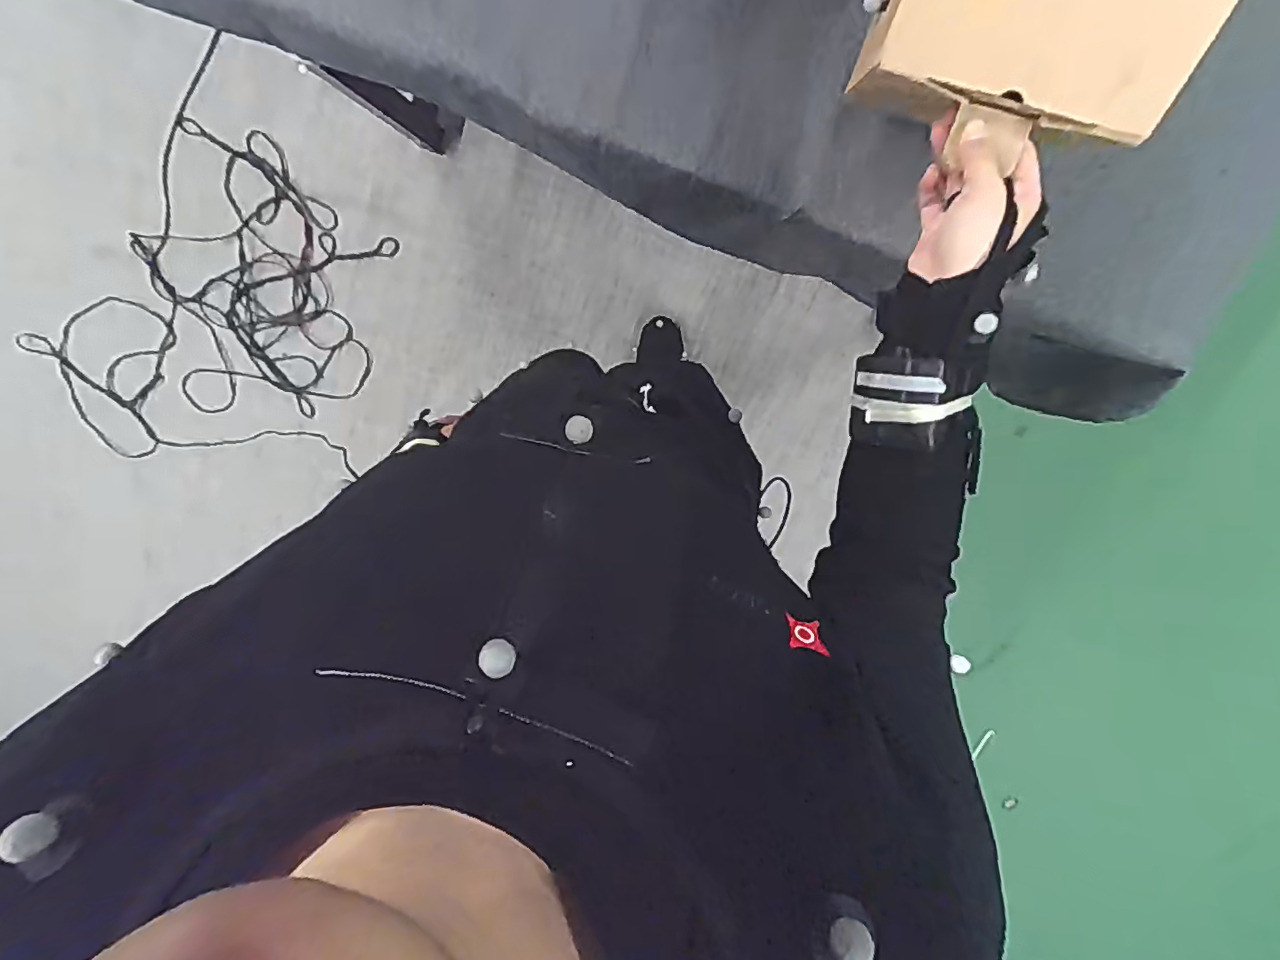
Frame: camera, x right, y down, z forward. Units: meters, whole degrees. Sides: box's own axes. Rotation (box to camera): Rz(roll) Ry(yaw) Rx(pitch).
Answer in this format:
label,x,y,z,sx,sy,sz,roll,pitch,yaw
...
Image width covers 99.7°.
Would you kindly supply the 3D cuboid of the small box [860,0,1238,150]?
label,x,y,z,sx,sy,sz,roll,pitch,yaw
small box,0.260,-0.332,0.348,0.168,0.176,0.179,18,120,3
